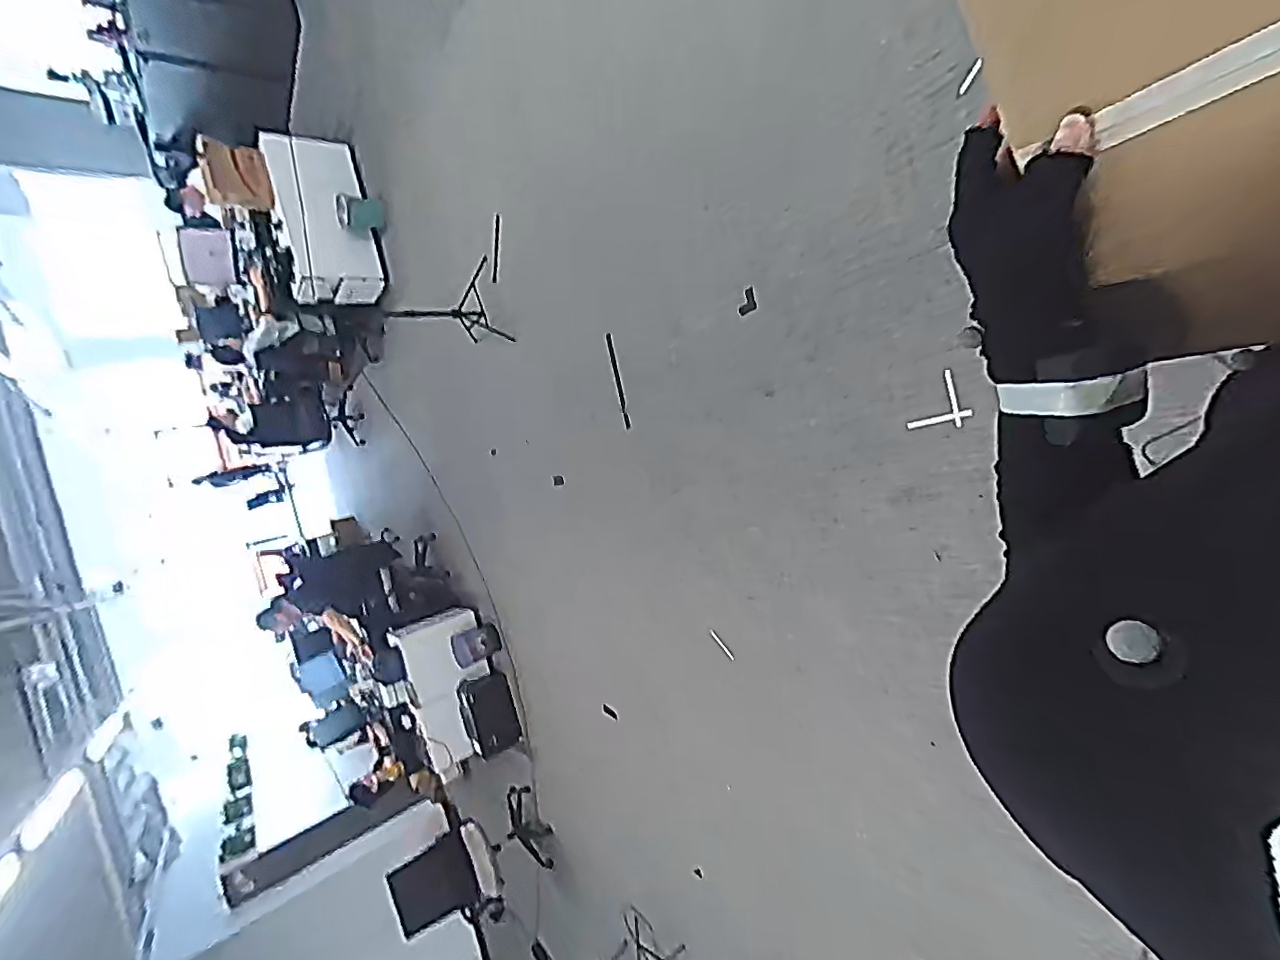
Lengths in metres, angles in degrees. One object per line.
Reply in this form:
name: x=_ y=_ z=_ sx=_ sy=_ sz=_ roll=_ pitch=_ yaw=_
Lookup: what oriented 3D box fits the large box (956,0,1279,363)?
large box: x=0.442 y=-0.305 z=0.243 sx=0.320 sy=0.320 sz=0.408 roll=52 pitch=154 yaw=-19
